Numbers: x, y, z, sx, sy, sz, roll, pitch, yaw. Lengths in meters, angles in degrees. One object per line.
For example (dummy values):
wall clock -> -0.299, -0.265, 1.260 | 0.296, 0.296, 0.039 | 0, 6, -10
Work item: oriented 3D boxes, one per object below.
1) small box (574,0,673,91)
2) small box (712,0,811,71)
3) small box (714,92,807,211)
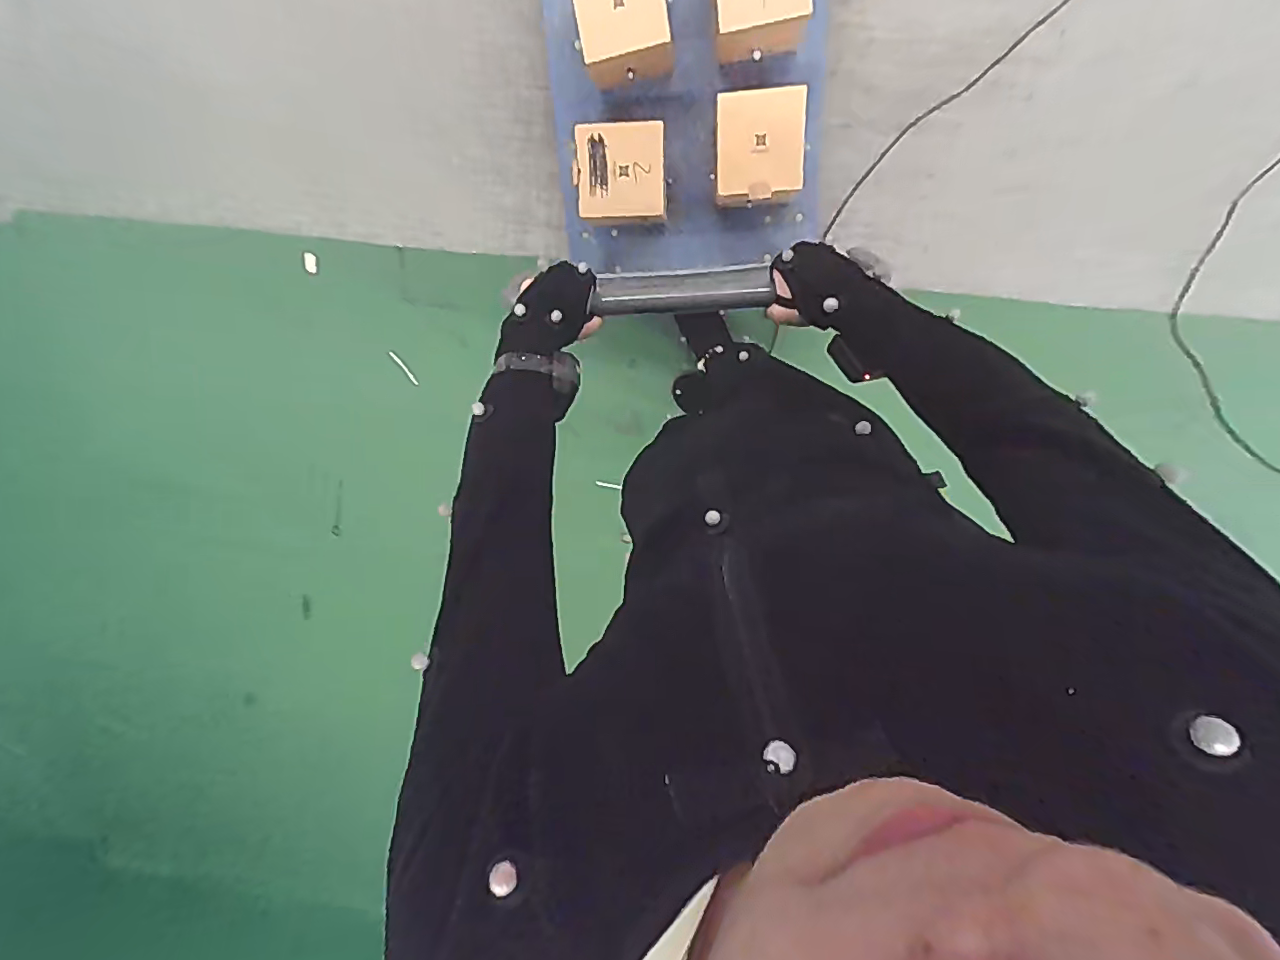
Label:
small box -> -0.029, -0.891, 1.054 | 0.168, 0.176, 0.179 | -8, 109, 8
small box -> 0.223, -0.914, 1.018 | 0.168, 0.176, 0.179 | -5, 111, 9
small box -> 0.239, -0.664, 1.111 | 0.168, 0.176, 0.179 | -1, 111, 6
